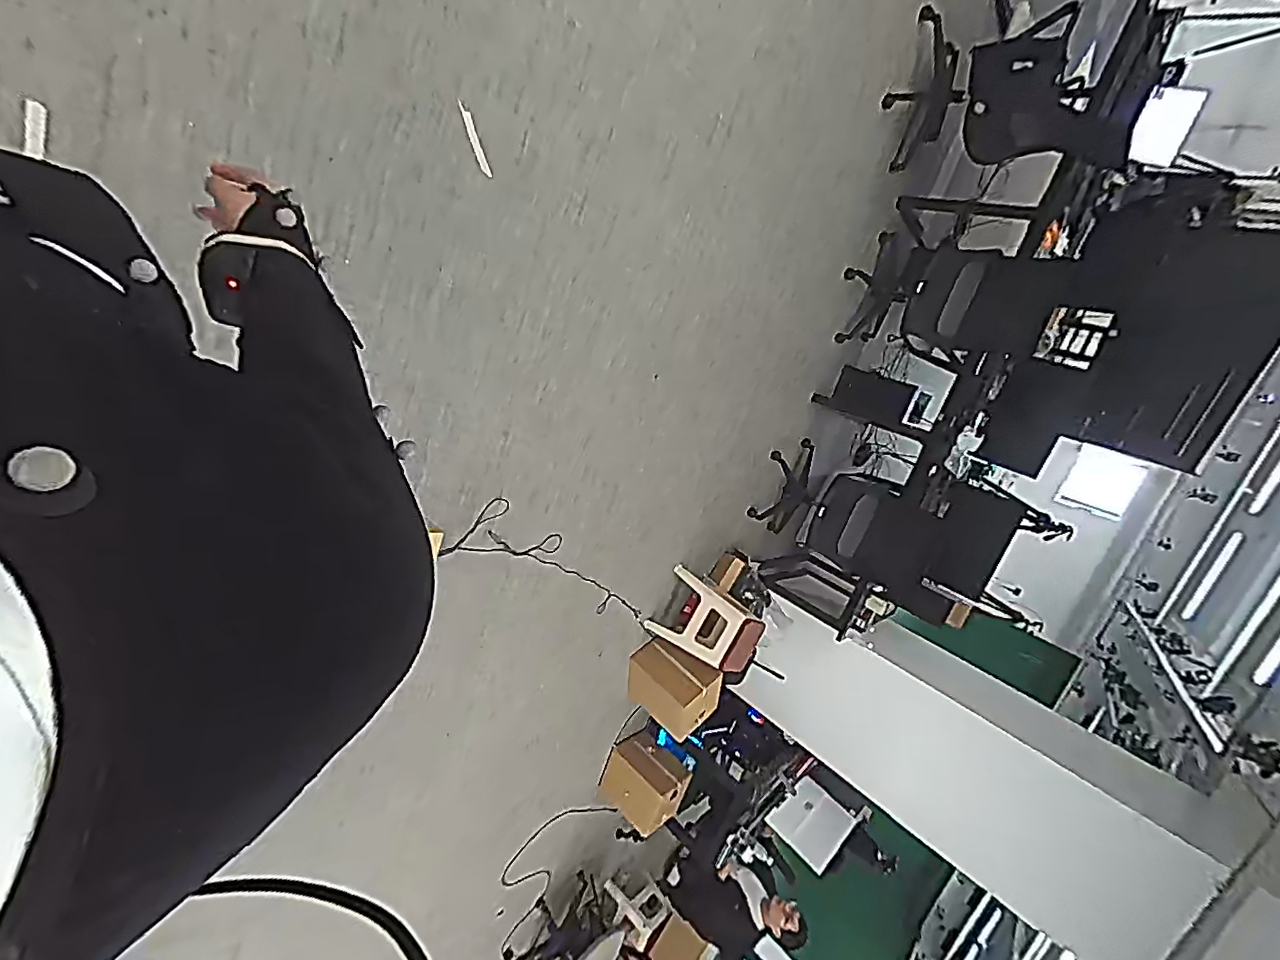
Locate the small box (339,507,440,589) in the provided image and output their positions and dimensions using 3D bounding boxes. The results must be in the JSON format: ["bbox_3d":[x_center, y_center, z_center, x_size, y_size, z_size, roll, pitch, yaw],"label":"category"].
[{"bbox_3d":[-0.687,0.182,1.484,0.179,0.176,0.168,7,105,-52],"label":"small box"}]
